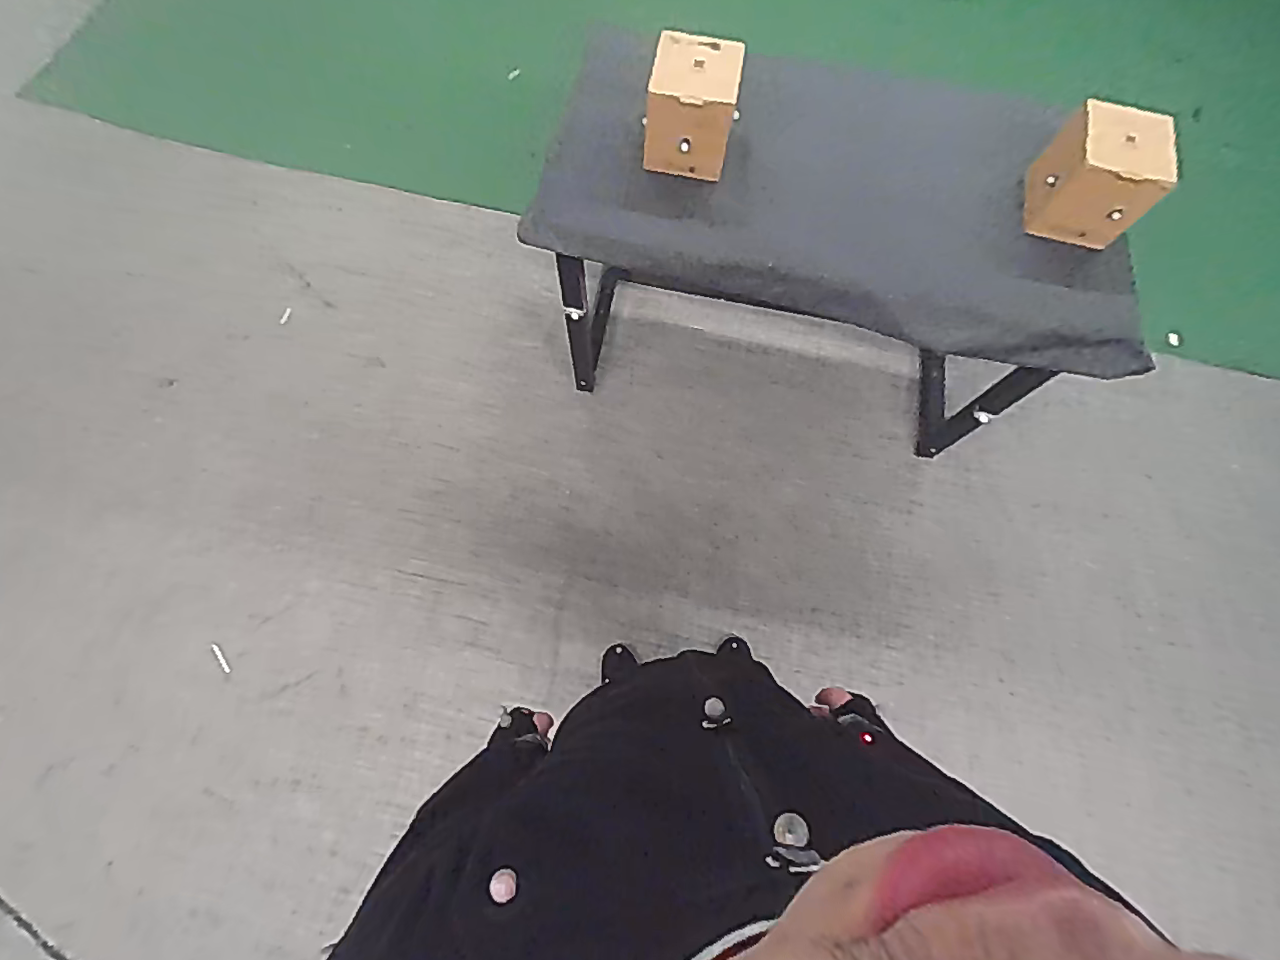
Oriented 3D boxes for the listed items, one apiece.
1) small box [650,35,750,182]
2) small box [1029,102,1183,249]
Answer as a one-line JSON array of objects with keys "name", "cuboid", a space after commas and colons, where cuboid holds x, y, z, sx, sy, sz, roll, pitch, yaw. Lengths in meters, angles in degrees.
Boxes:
[{"name": "small box", "cuboid": [0.115, -0.744, 1.097, 0.168, 0.176, 0.179, 11, 71, 1]}, {"name": "small box", "cuboid": [0.909, -0.594, 1.071, 0.168, 0.176, 0.179, 15, 70, 2]}]
